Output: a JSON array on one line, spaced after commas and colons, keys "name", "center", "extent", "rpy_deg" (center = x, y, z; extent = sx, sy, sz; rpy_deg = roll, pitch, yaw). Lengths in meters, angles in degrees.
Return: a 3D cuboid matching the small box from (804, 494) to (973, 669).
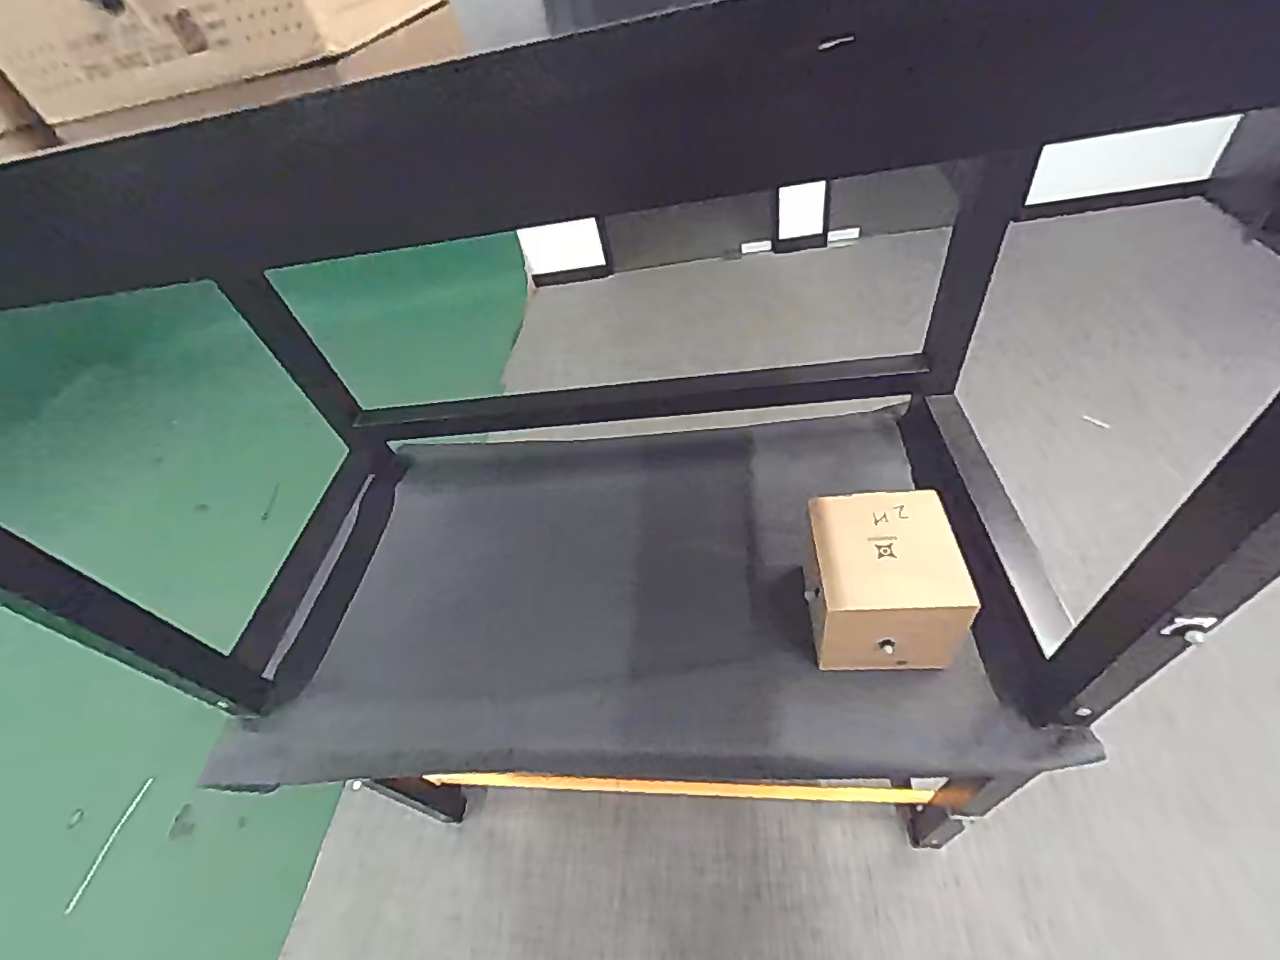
[{"name": "small box", "center": [0.317, 0.142, 0.731], "extent": [0.168, 0.176, 0.179], "rpy_deg": [-4, 47, 10]}]
